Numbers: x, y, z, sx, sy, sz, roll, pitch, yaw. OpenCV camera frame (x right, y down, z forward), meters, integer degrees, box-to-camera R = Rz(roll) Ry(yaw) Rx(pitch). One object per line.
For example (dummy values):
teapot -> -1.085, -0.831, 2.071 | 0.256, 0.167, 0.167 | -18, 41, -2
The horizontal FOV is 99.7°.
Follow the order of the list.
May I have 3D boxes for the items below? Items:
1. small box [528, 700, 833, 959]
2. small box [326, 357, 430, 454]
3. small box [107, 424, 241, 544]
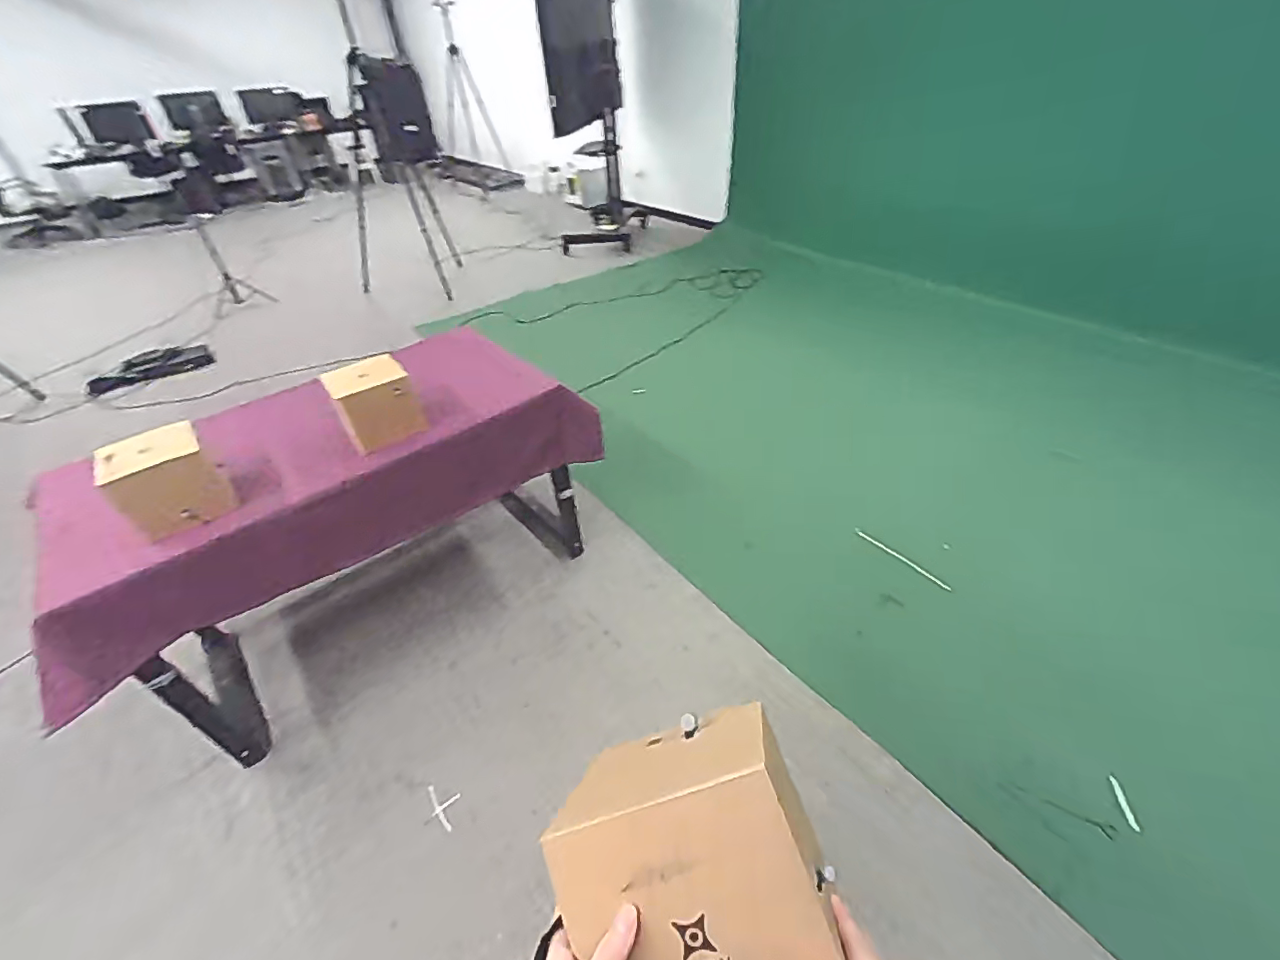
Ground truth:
small box -> 0.041, 0.302, 0.424 | 0.168, 0.176, 0.179 | -23, 79, 8
small box -> -0.680, -0.194, 1.415 | 0.179, 0.176, 0.168 | -28, 45, -27
small box -> -1.025, 0.007, 1.202 | 0.179, 0.176, 0.168 | -29, 45, -28
